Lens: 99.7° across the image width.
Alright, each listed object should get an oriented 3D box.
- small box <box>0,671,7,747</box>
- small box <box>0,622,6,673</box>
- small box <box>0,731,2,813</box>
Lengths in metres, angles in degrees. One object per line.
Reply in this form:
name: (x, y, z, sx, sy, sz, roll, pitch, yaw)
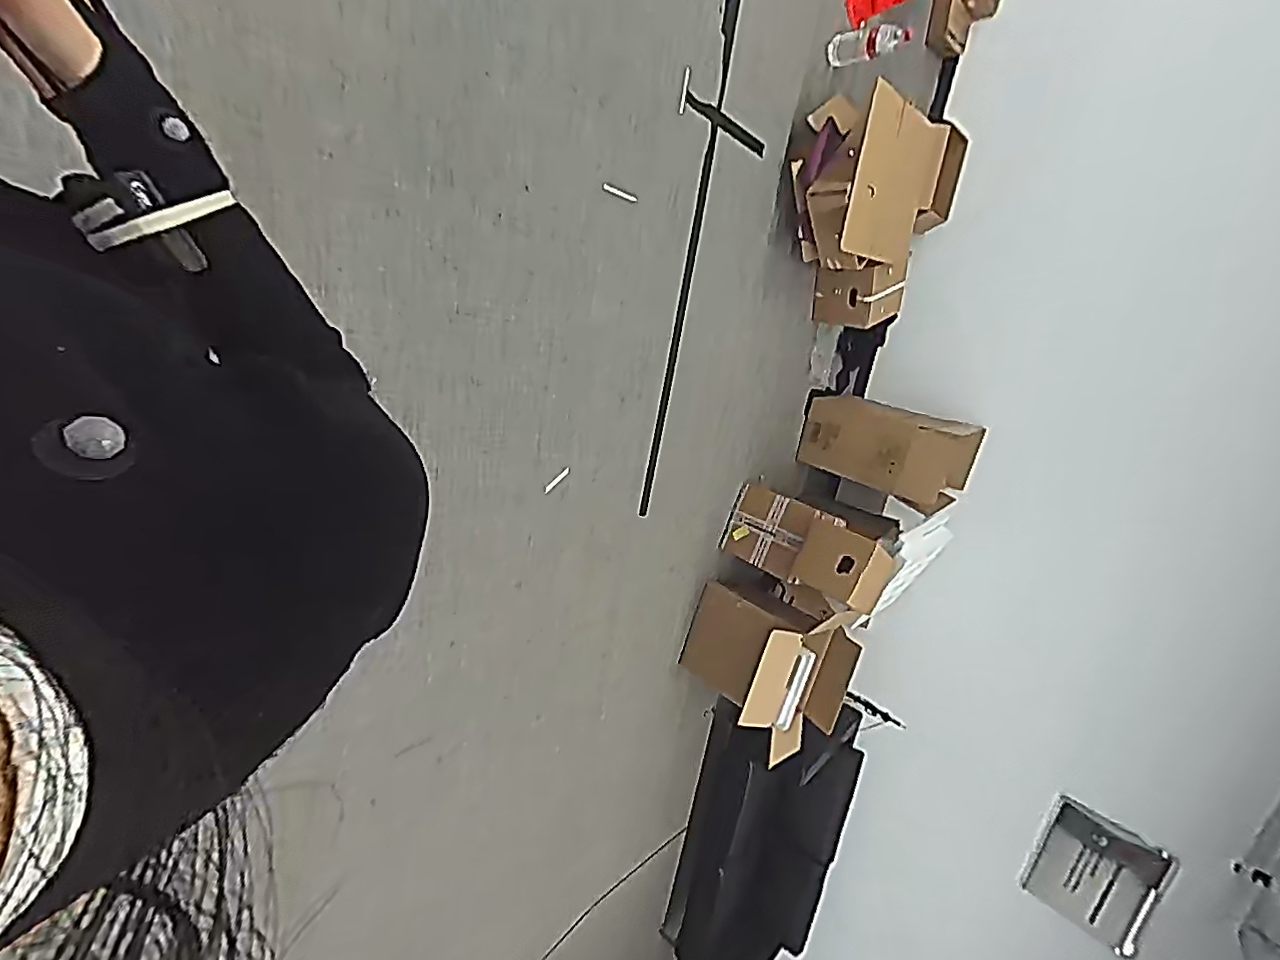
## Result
small box: (-1.180, 0.434, 0.883, 0.179, 0.176, 0.168, 8, 101, -50)
small box: (-1.296, 0.376, 0.984, 0.179, 0.176, 0.168, 3, 105, -49)
small box: (-1.065, 0.490, 0.784, 0.179, 0.176, 0.168, 4, 104, -49)
